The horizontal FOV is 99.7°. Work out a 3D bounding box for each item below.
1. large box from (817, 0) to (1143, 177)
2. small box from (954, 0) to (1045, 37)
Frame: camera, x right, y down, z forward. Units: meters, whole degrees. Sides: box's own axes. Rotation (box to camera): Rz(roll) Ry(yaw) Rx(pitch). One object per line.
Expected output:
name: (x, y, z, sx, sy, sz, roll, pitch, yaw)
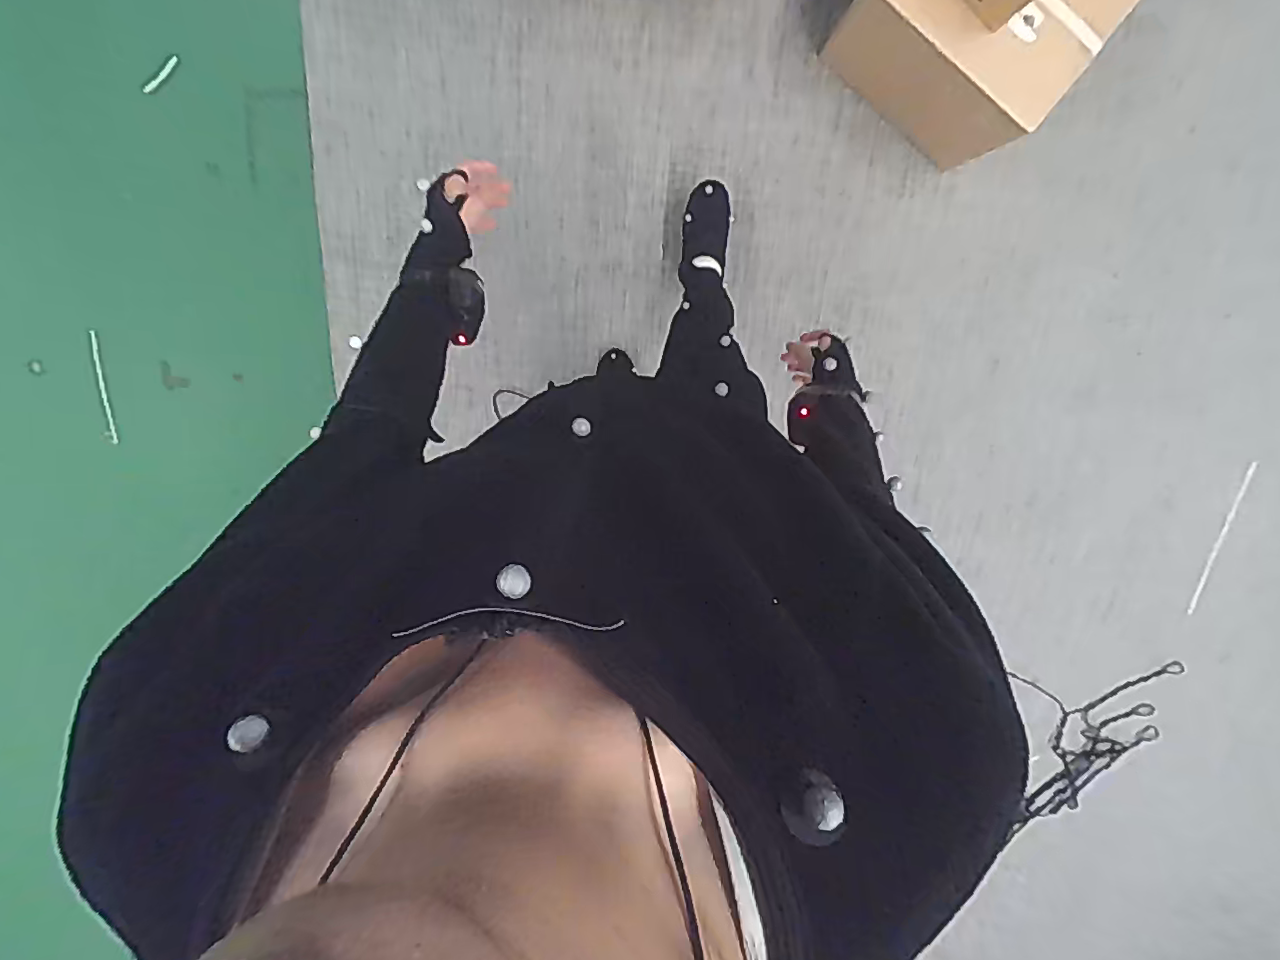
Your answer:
large box: (0.637, -0.890, 1.065, 0.408, 0.320, 0.320, 34, 106, -10)
small box: (0.600, -0.846, 0.824, 0.168, 0.176, 0.179, 38, 104, -10)
